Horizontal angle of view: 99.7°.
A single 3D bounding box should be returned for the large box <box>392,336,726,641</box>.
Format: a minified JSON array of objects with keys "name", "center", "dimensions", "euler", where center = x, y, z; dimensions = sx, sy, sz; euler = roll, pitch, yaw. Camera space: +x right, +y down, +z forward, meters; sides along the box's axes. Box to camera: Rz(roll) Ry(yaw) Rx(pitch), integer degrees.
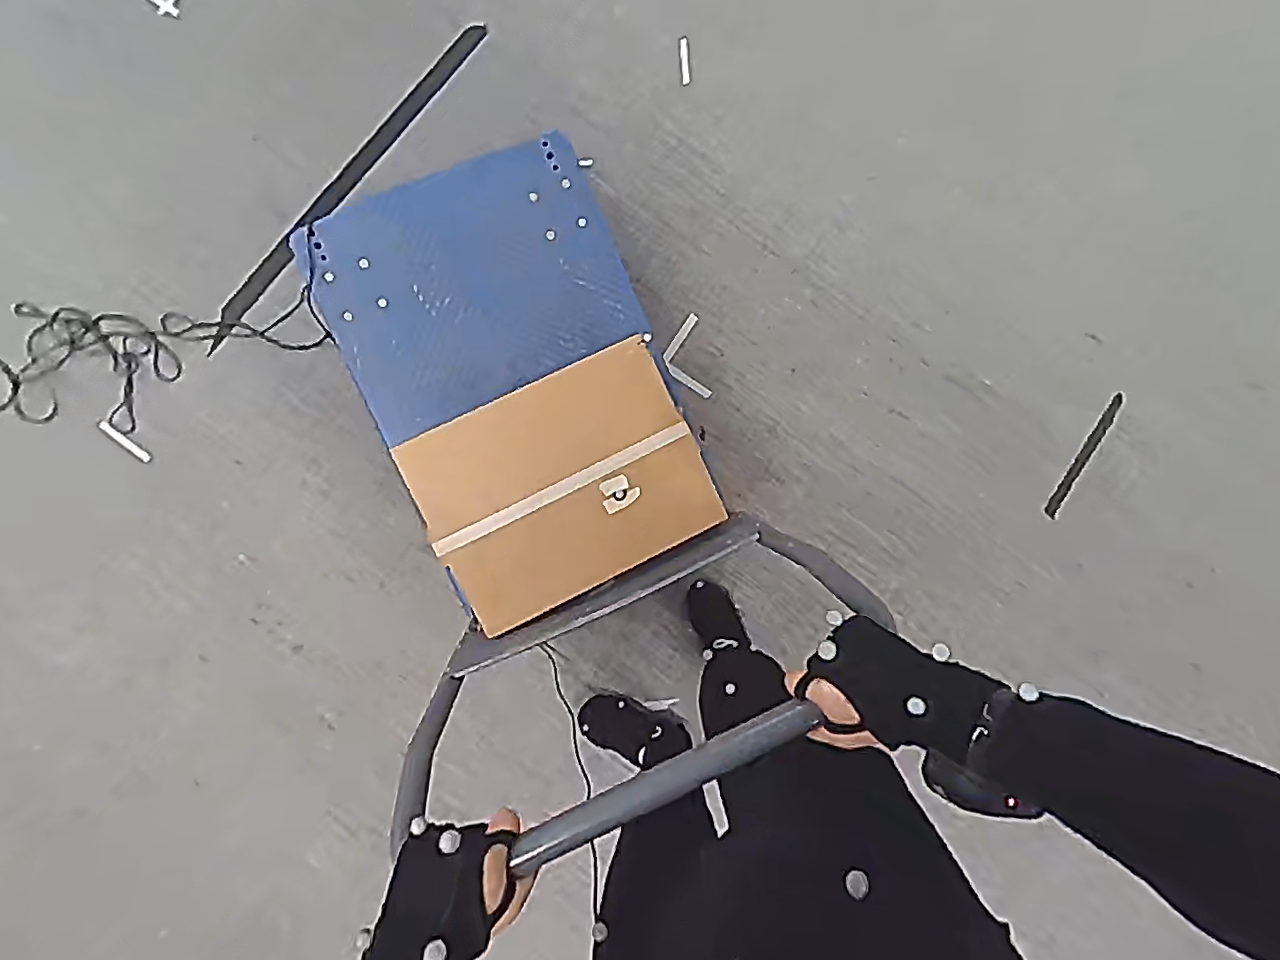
[{"name":"large box","center":[-0.128,0.009,0.932],"dimensions":[0.408,0.320,0.320],"euler":[-26,95,-6]}]
